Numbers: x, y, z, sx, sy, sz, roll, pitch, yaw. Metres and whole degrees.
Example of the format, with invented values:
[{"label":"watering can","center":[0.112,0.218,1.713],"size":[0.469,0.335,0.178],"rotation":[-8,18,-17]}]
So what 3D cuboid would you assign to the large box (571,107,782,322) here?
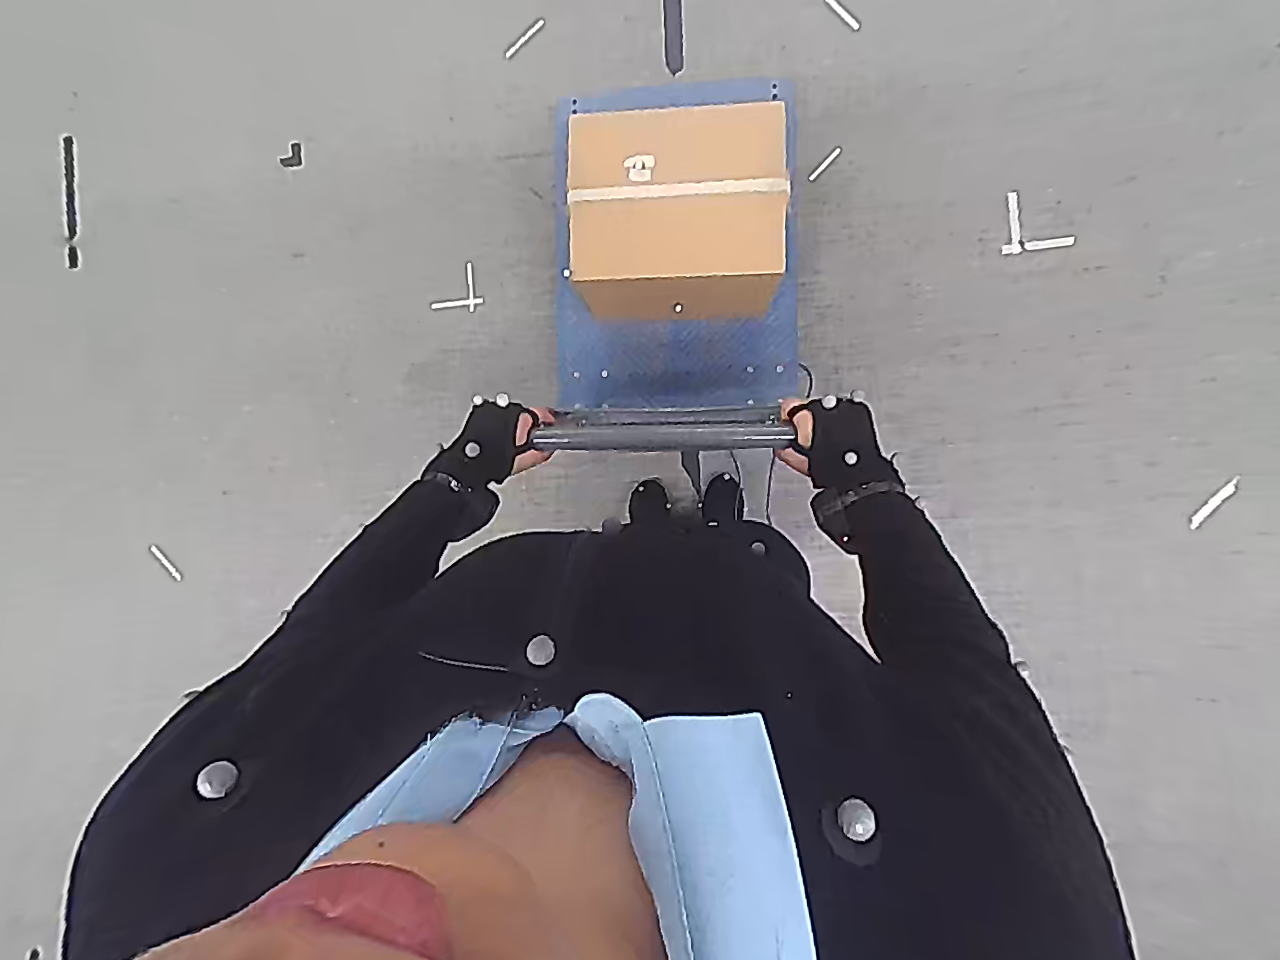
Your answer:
[{"label":"large box","center":[0.083,-0.542,1.177],"size":[0.408,0.320,0.320],"rotation":[0,90,6]}]
